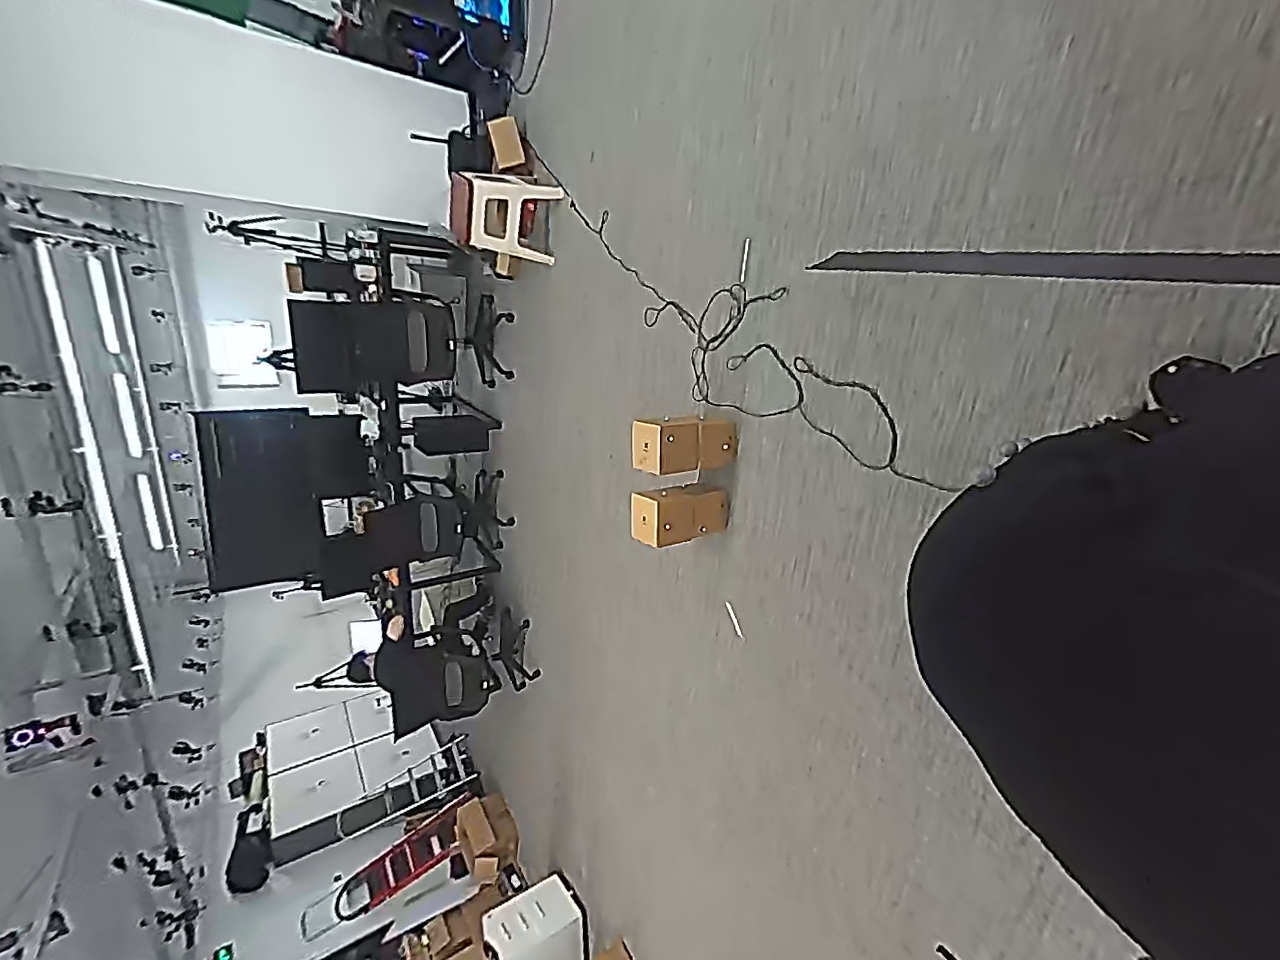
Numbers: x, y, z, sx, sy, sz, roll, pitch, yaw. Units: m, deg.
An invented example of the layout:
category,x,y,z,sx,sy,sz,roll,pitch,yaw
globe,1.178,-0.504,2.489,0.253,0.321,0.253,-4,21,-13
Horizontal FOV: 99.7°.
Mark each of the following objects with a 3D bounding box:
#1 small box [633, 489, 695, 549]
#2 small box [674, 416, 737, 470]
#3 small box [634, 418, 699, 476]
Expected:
category,x,y,z,sx,sy,sz,roll,pitch,yaw
small box,0.090,0.136,1.998,0.168,0.176,0.179,18,112,54
small box,0.237,-0.142,2.006,0.179,0.176,0.168,22,116,51
small box,0.095,-0.123,1.924,0.168,0.176,0.179,20,115,53
